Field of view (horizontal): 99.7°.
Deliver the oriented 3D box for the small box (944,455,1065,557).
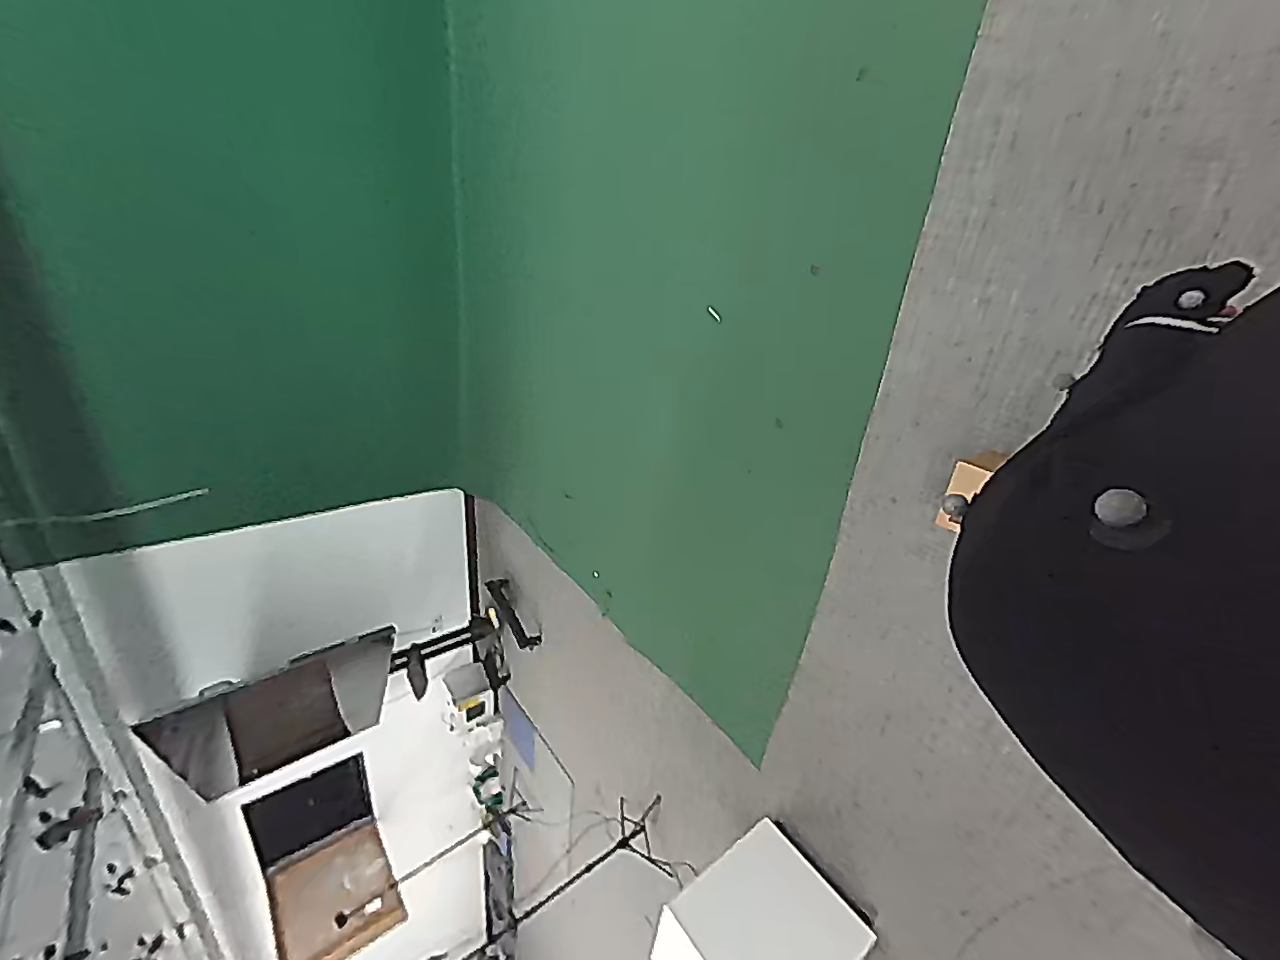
[{"bbox_3d":[0.872,0.054,1.293,0.168,0.176,0.179,32,124,45],"label":"small box"}]
